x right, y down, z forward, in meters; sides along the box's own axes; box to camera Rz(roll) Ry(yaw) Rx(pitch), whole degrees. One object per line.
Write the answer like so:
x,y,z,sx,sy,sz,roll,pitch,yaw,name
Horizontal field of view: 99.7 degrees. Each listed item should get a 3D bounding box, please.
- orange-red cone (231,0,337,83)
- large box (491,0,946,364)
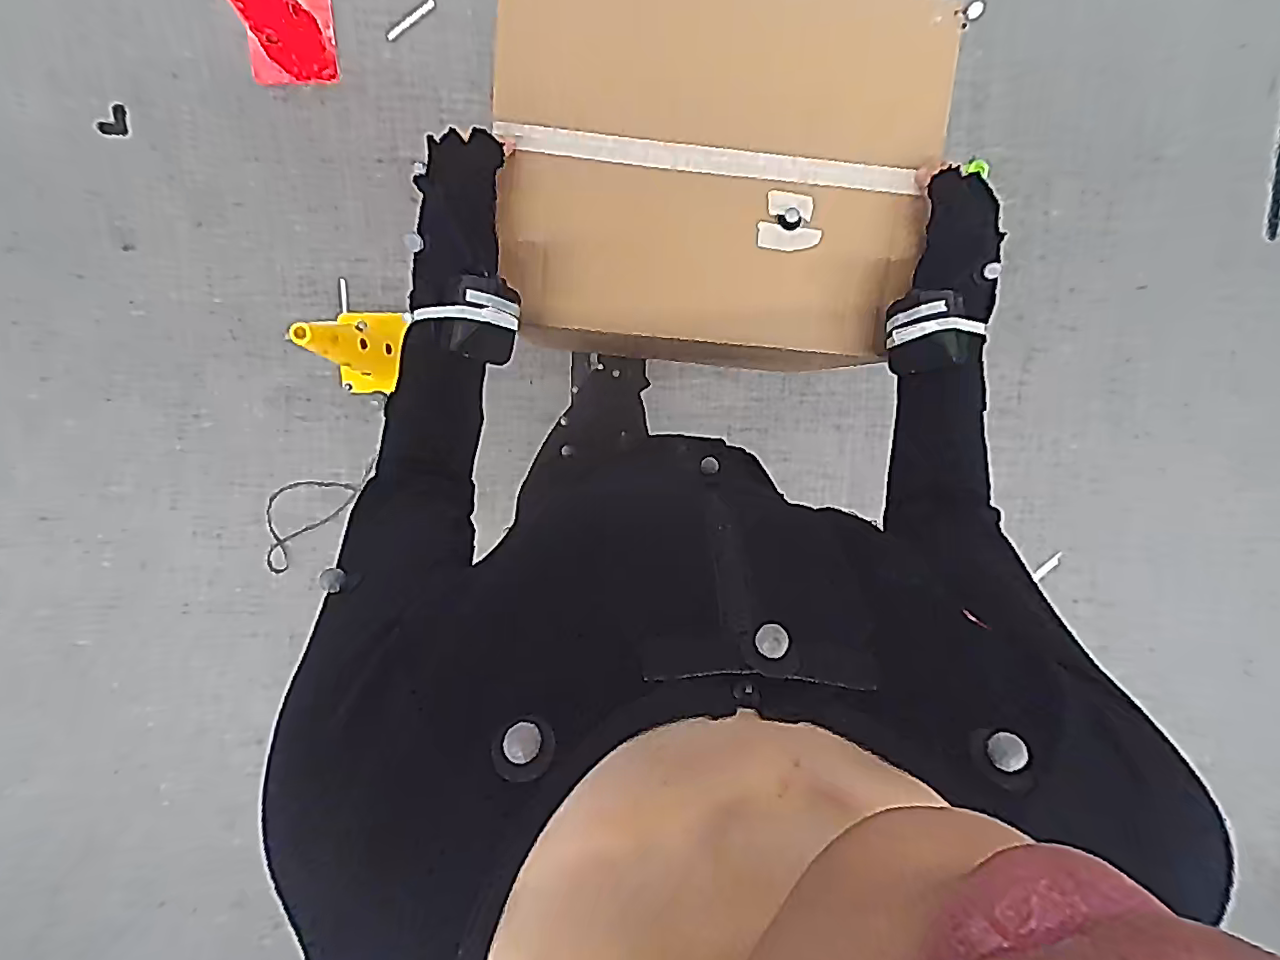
-0.822,-1.028,1.116,0.198,0.360,0.199,-2,99,-1,orange-red cone
0.057,-0.317,0.638,0.408,0.320,0.320,4,99,-5,large box
